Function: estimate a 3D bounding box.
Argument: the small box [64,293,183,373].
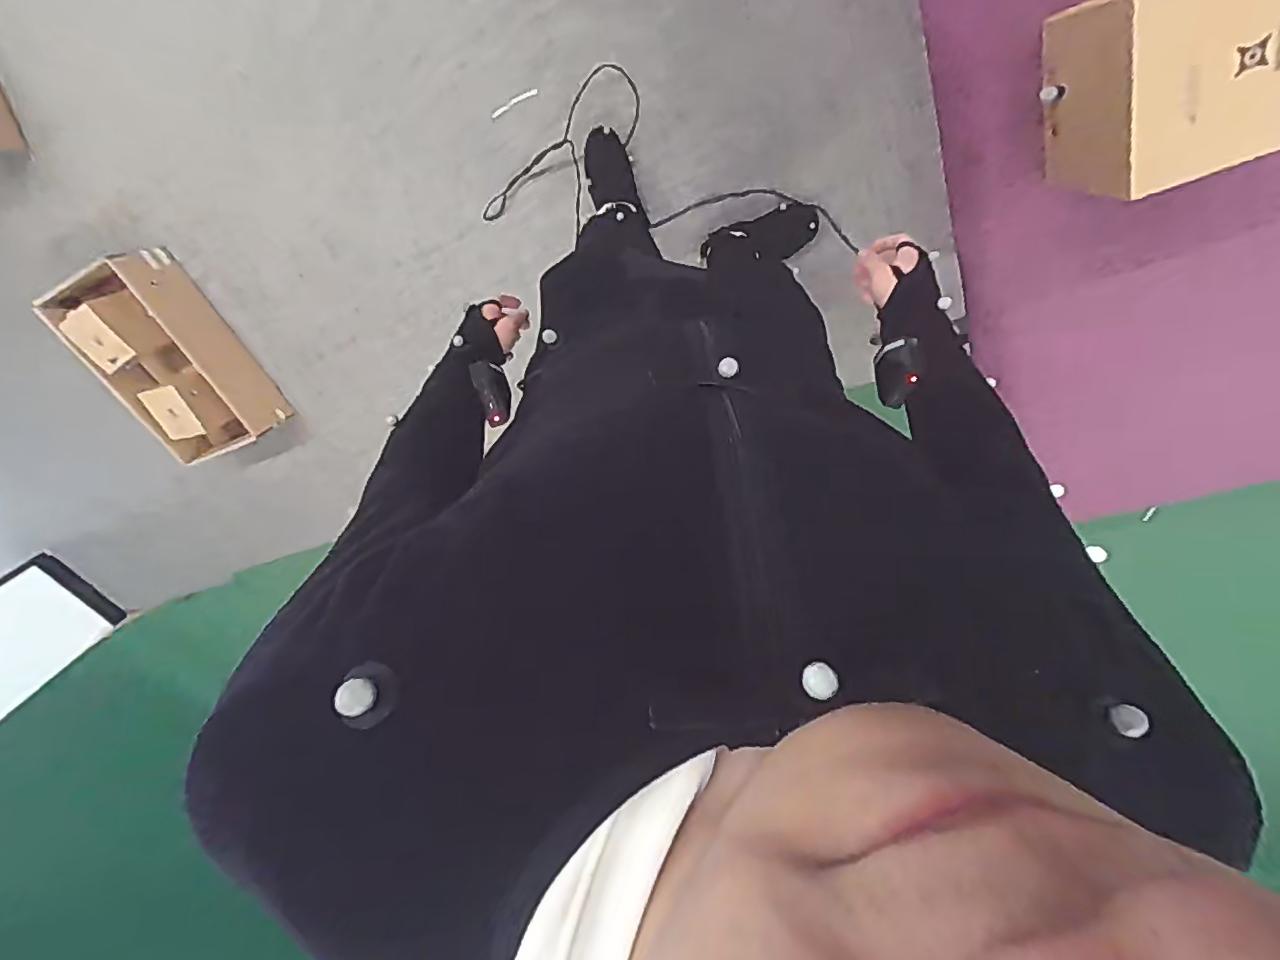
[{"bbox_3d":[-1.616,-0.469,1.703,0.168,0.176,0.179,-20,118,22],"label":"small box"}]

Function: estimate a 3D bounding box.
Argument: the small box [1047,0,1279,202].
[{"bbox_3d":[0.515,-0.383,0.498,0.179,0.176,0.168,-15,118,19],"label":"small box"}]
